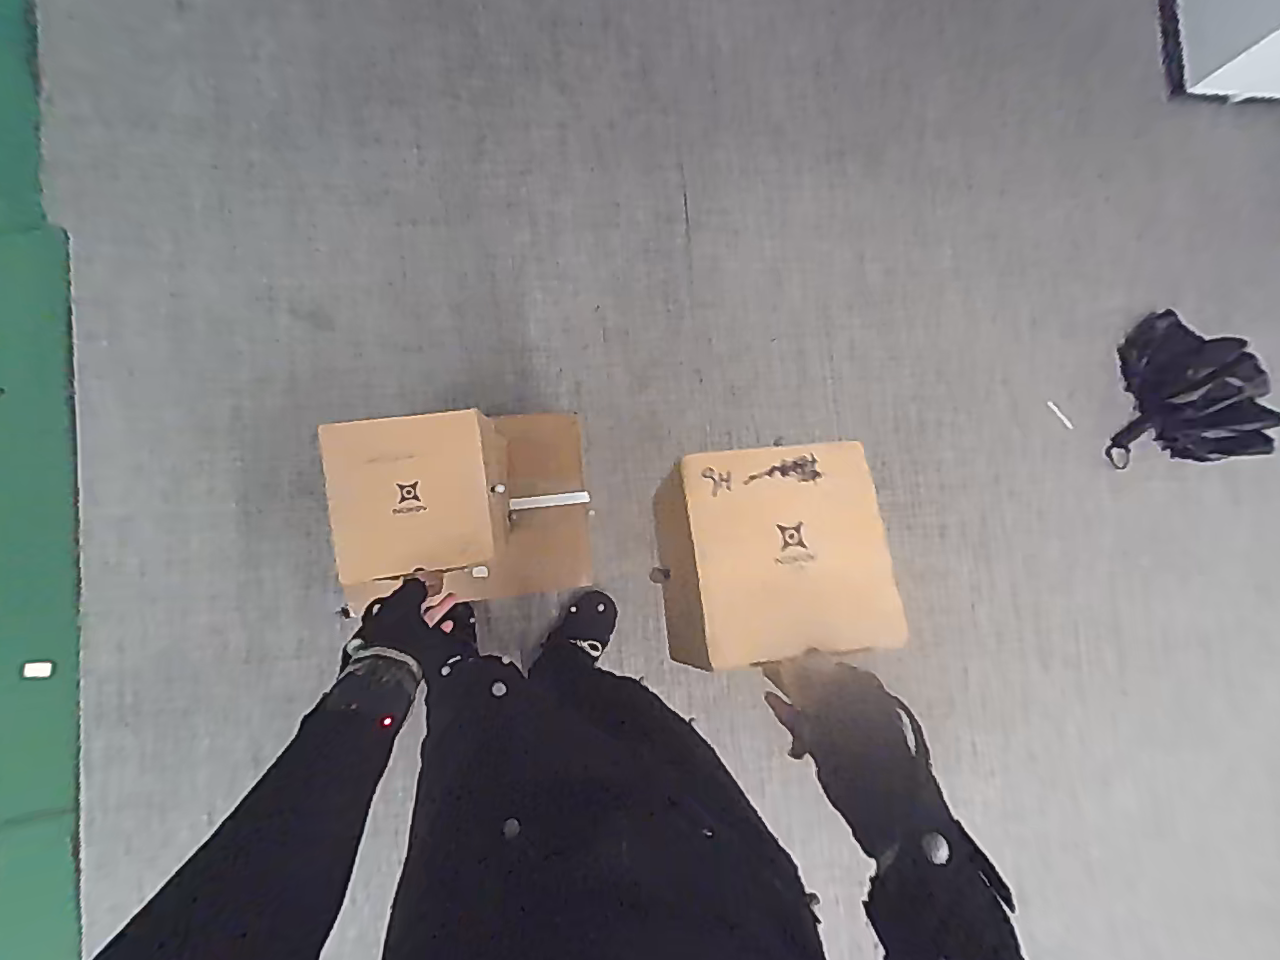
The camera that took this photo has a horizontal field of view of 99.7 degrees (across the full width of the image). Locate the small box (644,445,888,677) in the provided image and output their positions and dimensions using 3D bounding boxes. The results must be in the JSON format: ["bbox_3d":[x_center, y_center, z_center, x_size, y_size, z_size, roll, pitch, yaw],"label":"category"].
[{"bbox_3d":[0.102,0.078,0.522,0.168,0.176,0.179,-6,77,-9],"label":"small box"}]

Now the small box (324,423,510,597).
[{"bbox_3d":[-0.261,0.030,0.674,0.168,0.176,0.179,-9,92,-9],"label":"small box"}]
